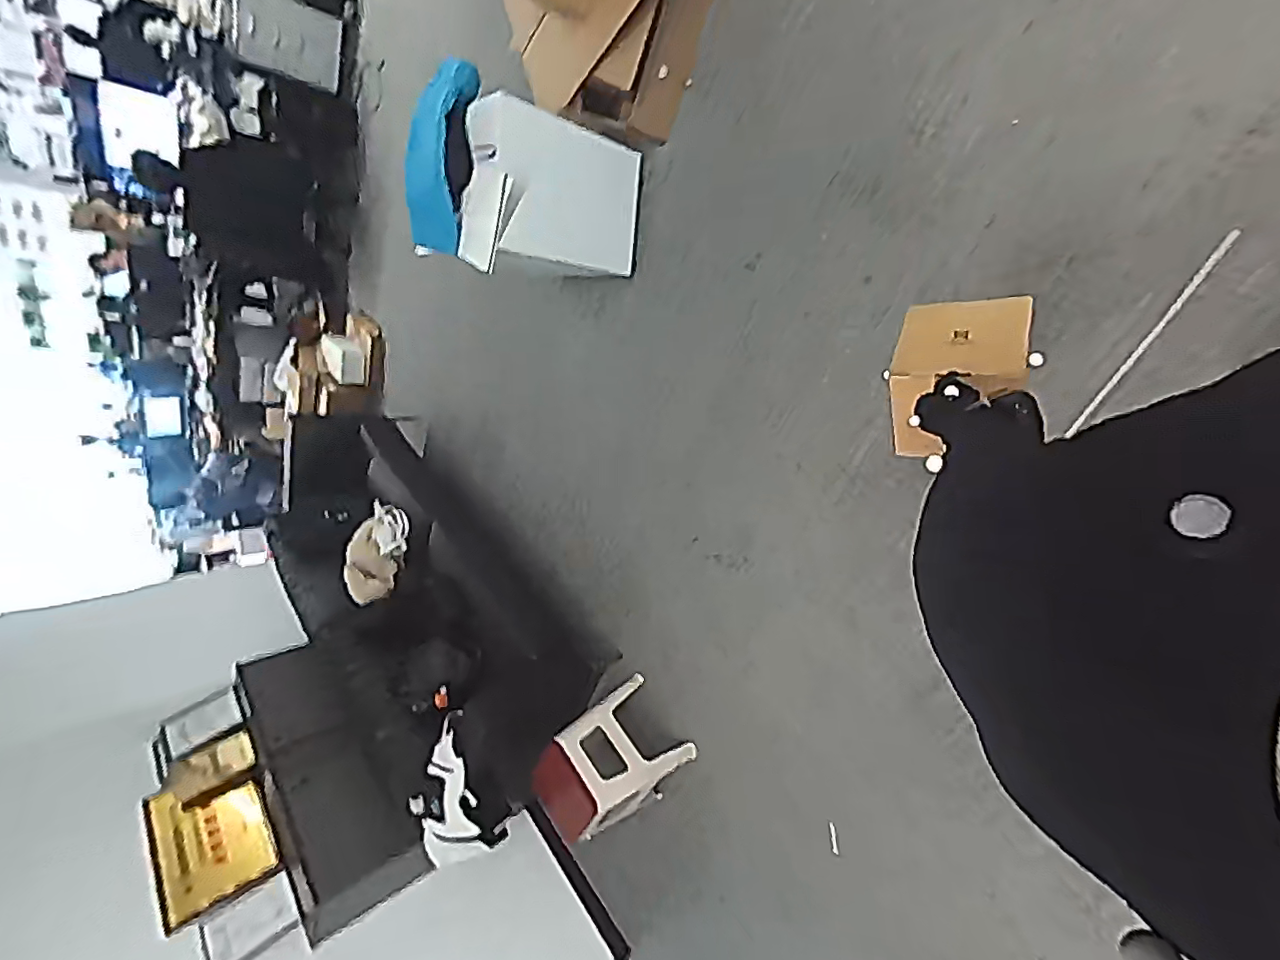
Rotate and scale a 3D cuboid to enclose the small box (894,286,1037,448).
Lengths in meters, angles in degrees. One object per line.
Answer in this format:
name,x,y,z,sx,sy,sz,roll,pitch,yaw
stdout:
small box,0.502,-0.174,0.840,0.168,0.179,0.176,6,143,34
